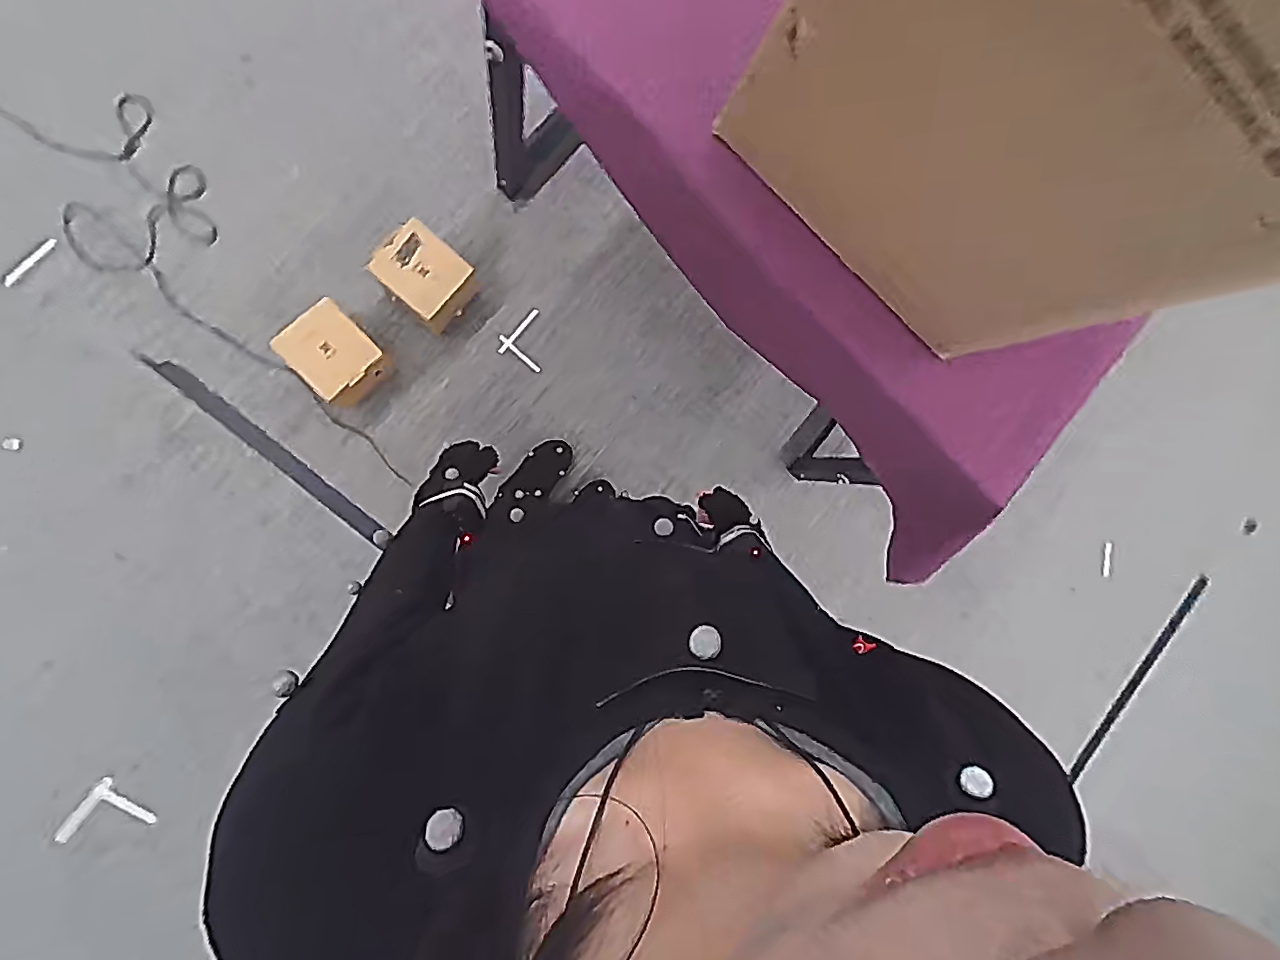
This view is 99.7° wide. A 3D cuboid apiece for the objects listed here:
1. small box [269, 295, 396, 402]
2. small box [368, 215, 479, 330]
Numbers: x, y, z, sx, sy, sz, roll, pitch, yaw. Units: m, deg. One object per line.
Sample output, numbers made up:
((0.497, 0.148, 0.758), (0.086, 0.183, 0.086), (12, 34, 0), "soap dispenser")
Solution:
((-0.713, -0.299, 1.282), (0.168, 0.176, 0.179), (-45, 99, -9), "small box")
((-0.515, -0.493, 1.315), (0.179, 0.176, 0.168), (41, 84, -11), "small box")
